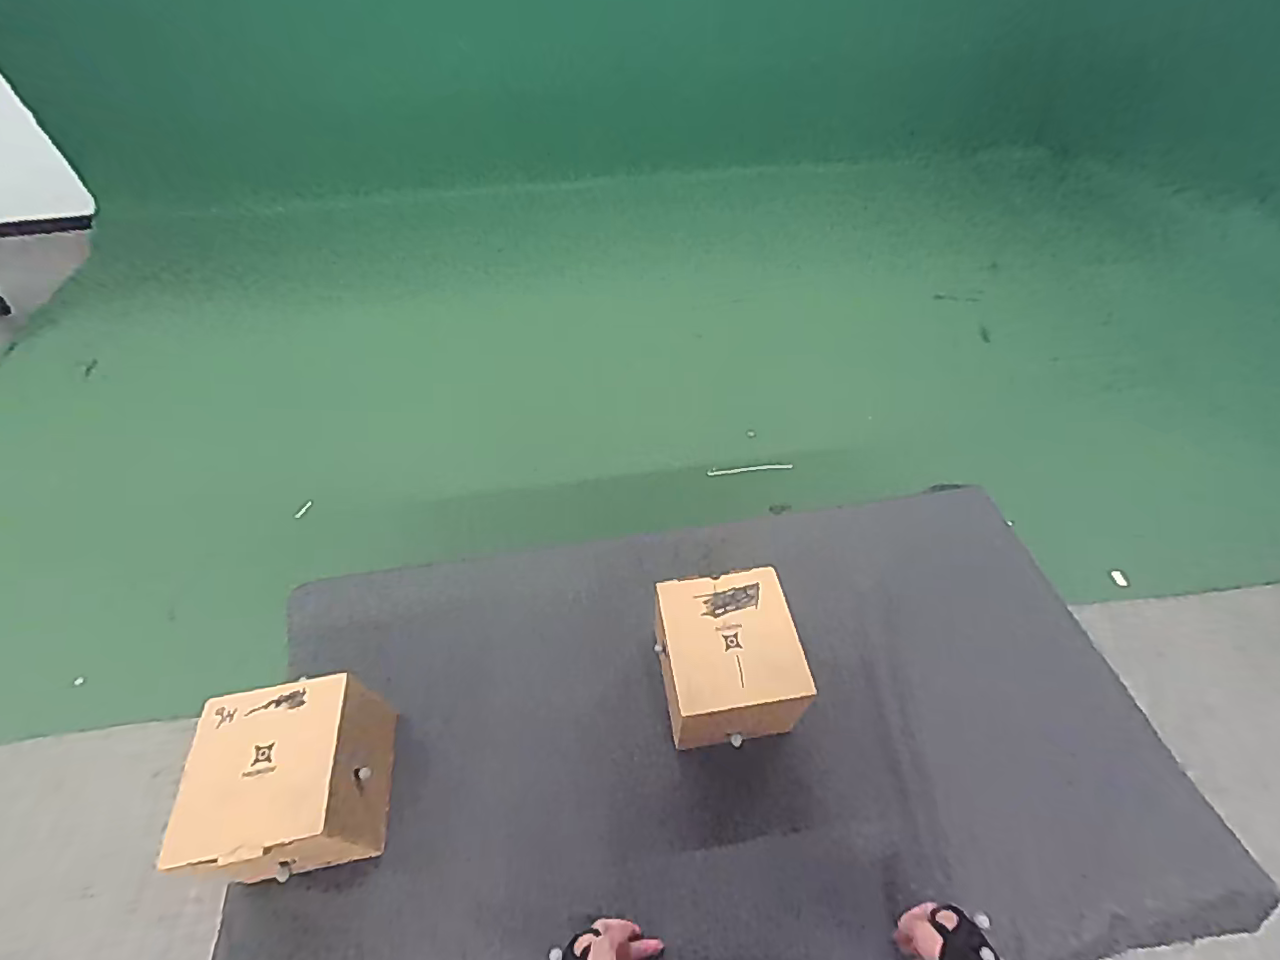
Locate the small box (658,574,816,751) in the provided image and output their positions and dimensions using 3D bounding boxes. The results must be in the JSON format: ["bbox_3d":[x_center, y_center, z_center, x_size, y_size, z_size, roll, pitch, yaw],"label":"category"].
[{"bbox_3d":[0.119,0.255,0.752,0.168,0.176,0.179,-7,53,-5],"label":"small box"}]

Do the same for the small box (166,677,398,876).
[{"bbox_3d":[-0.415,0.368,0.668,0.168,0.176,0.179,-8,52,-6],"label":"small box"}]
